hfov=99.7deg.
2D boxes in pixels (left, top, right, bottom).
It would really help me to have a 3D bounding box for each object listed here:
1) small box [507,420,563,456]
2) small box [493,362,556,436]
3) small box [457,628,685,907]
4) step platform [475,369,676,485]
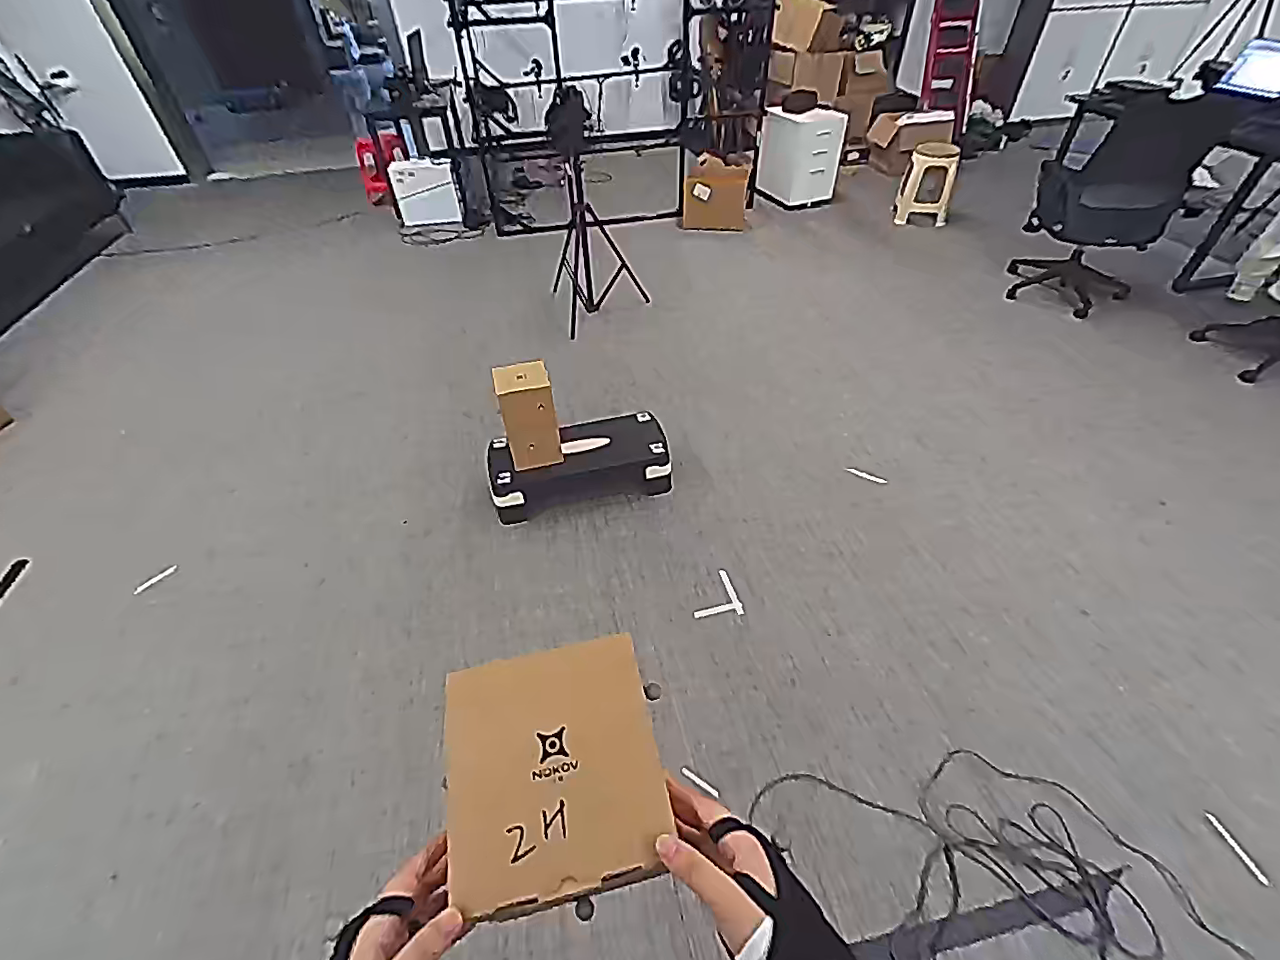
[{"bbox_3d":[-0.381,-0.158,1.949,0.179,0.176,0.168,-13,46,-10],"label":"small box"},{"bbox_3d":[-0.387,-0.274,1.834,0.179,0.176,0.168,-13,44,-11],"label":"small box"},{"bbox_3d":[-0.063,0.265,0.497,0.168,0.176,0.179,-11,52,-7],"label":"small box"},{"bbox_3d":[-0.220,-0.192,1.924,0.684,0.204,0.286,-11,45,-9],"label":"step platform"}]
